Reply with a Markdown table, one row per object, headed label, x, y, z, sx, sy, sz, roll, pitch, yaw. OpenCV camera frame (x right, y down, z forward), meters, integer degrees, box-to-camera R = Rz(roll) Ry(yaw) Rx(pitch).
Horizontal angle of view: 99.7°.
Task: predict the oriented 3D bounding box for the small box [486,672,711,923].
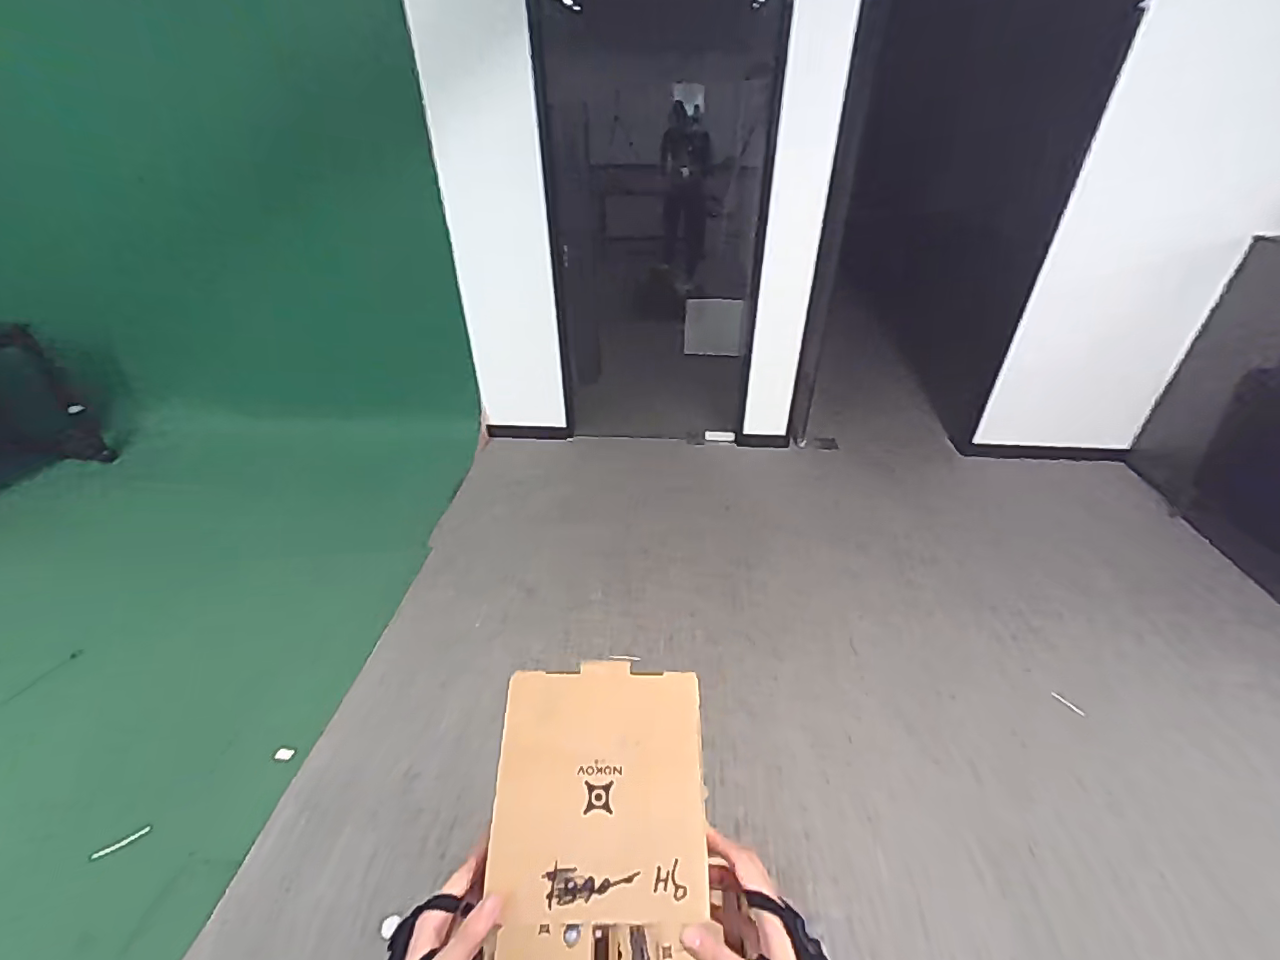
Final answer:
| label | x | y | z | sx | sy | sz | roll | pitch | yaw |
| --- | --- | --- | --- | --- | --- | --- | --- | --- | --- |
| small box | -0.029 | 0.289 | 0.500 | 0.168 | 0.176 | 0.179 | -1 | 56 | 1 |
